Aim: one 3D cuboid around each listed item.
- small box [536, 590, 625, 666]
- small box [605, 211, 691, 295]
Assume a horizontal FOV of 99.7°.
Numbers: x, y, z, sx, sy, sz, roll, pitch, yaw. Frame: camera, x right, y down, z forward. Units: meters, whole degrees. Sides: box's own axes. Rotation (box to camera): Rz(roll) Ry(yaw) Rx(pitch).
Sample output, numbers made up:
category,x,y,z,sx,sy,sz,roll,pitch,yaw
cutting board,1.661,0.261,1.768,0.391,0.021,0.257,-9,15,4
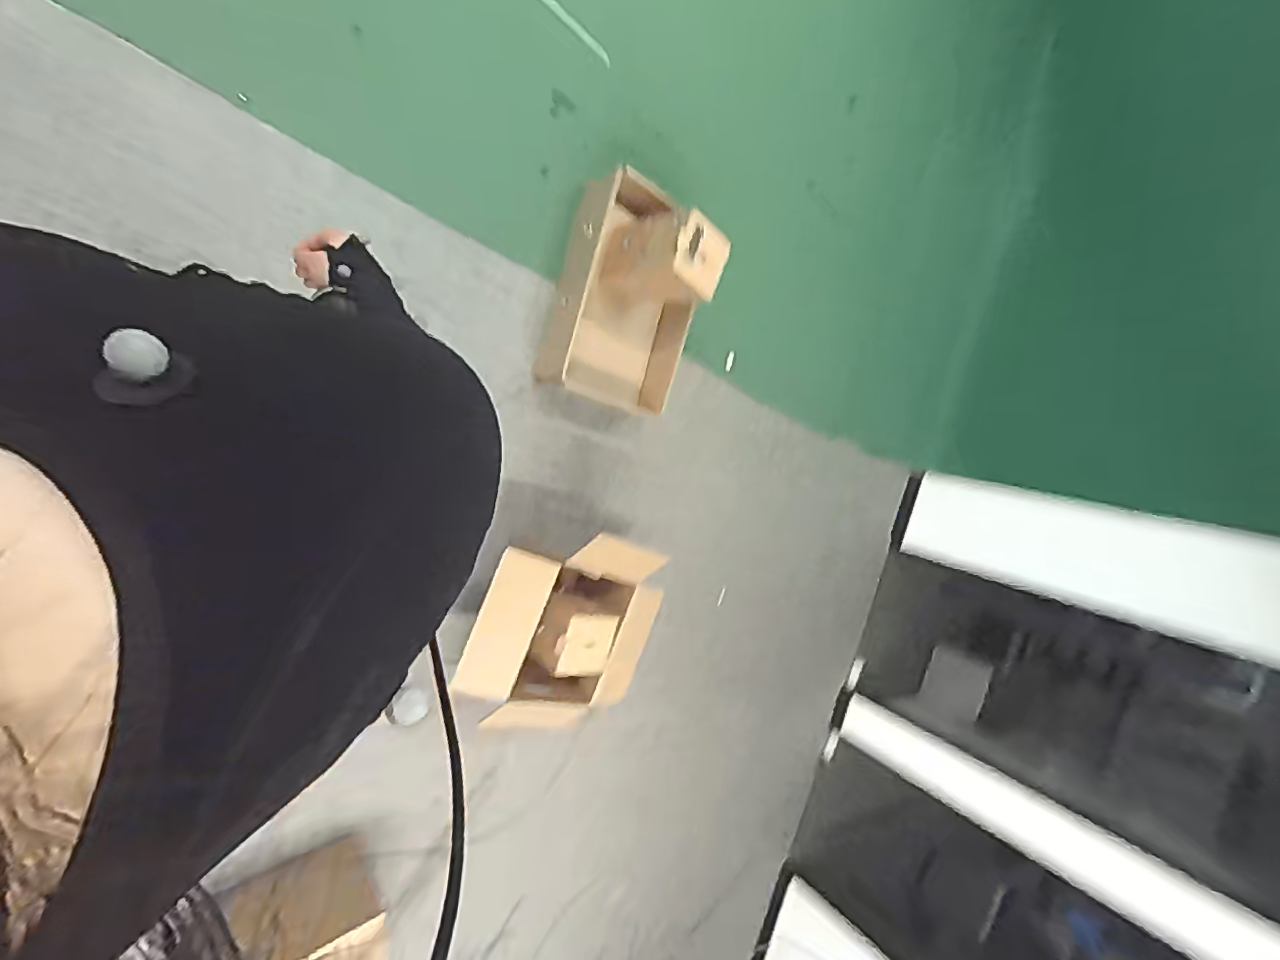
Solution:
category,x,y,z,sx,sy,sz,roll,pitch,yaw
small box,-0.177,0.433,1.597,0.179,0.176,0.168,14,91,-41
small box,0.020,-0.671,1.619,0.168,0.176,0.179,15,94,-42
